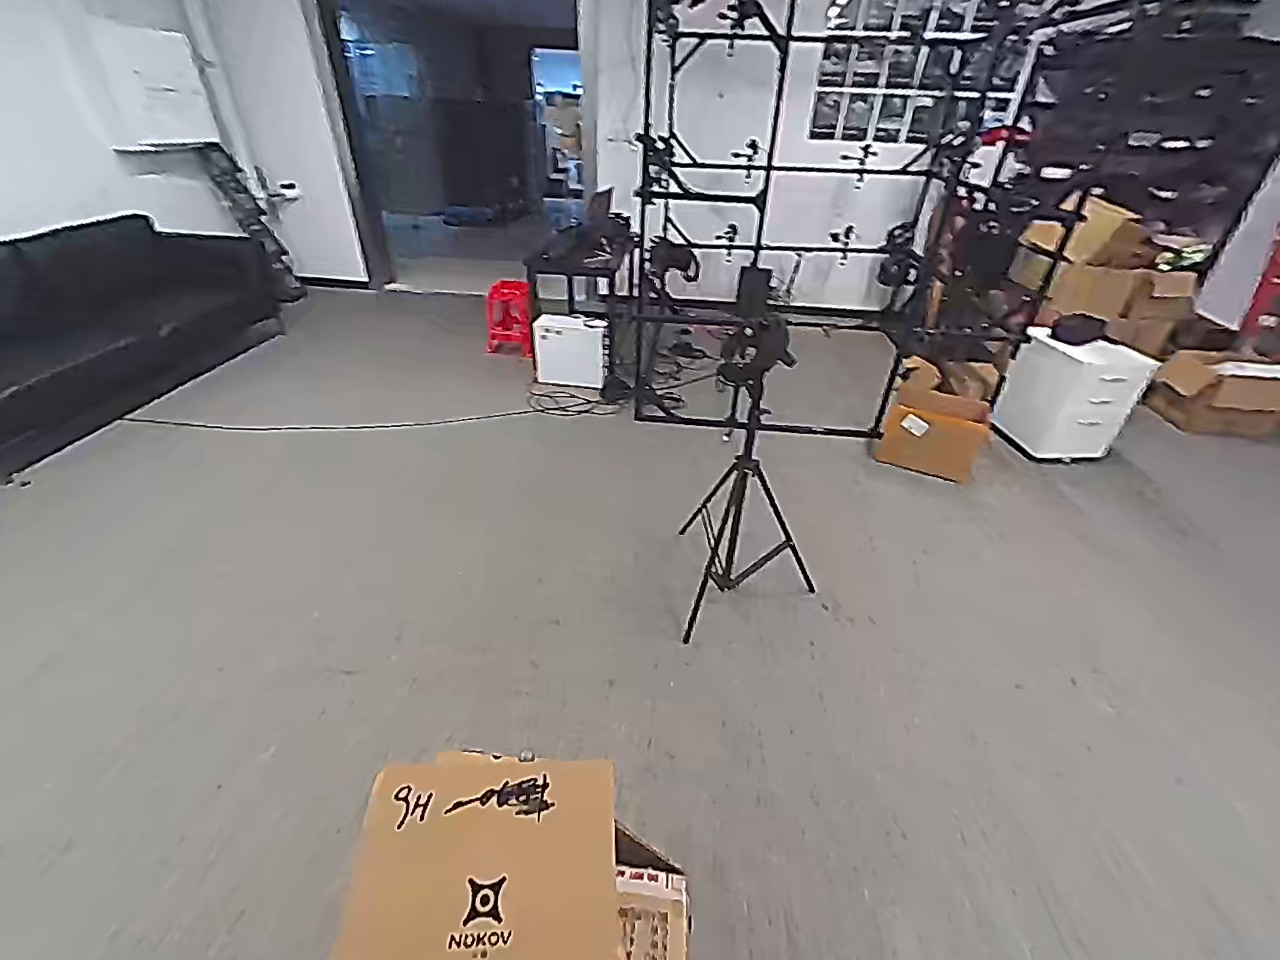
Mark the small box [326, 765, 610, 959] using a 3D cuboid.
[{"bbox_3d":[-0.107,0.320,0.384,0.168,0.176,0.179,2,49,-7],"label":"small box"}]
